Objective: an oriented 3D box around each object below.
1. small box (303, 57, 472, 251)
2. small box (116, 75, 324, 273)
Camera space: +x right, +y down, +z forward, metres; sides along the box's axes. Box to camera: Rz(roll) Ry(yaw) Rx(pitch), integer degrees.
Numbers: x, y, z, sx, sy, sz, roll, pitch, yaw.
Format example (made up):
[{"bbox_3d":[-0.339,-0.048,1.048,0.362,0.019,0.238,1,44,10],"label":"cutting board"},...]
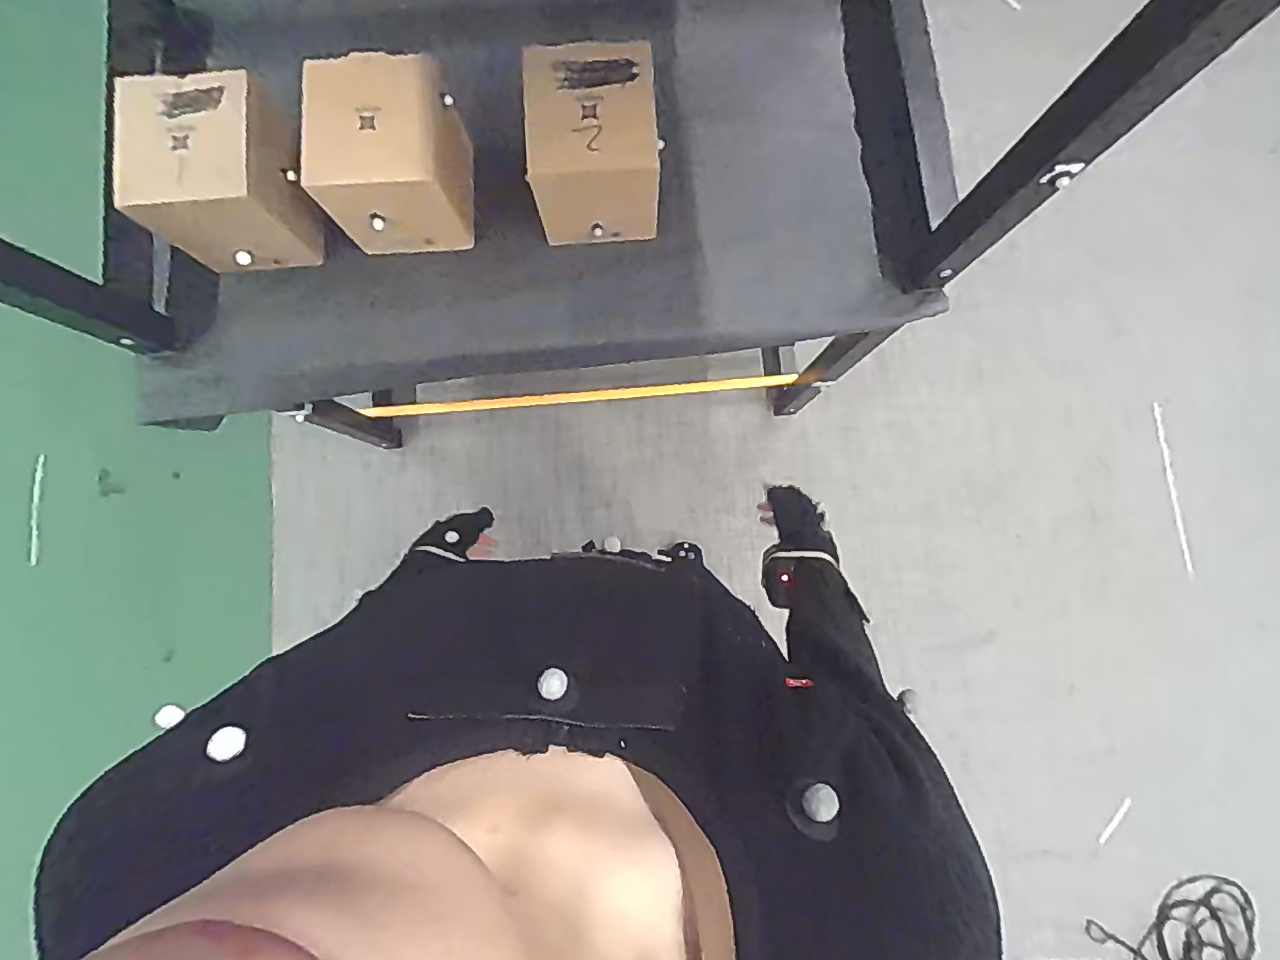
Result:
[{"bbox_3d":[-0.342,-0.441,0.761,0.168,0.176,0.179,-4,83,-1],"label":"small box"},{"bbox_3d":[-0.567,-0.415,0.754,0.168,0.176,0.179,-5,84,-1],"label":"small box"}]
